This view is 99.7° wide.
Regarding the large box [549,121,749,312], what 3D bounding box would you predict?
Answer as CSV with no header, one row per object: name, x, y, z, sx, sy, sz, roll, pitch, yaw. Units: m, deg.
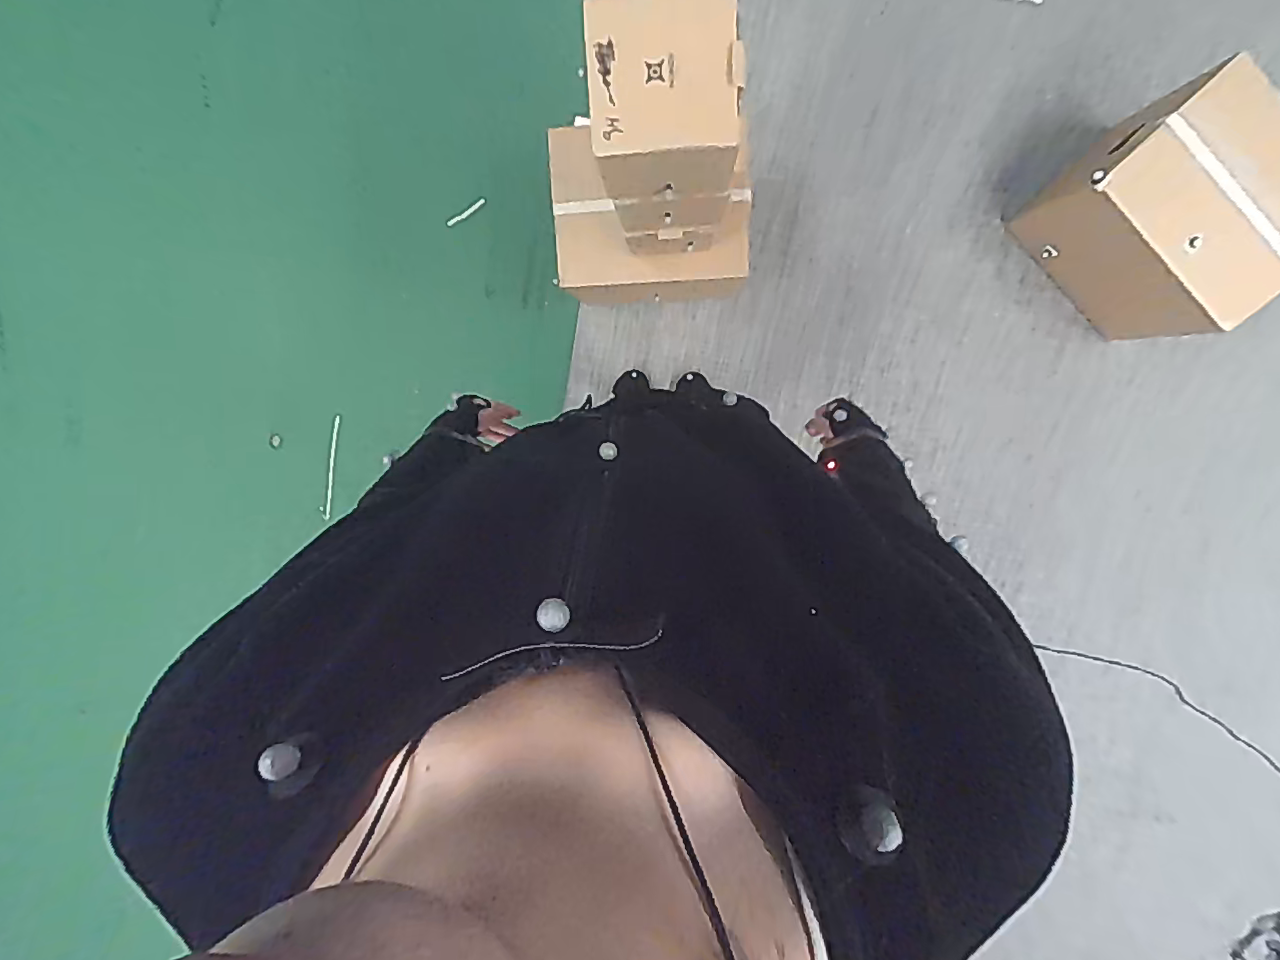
large box,0.034,-0.577,1.255,0.408,0.320,0.320,-2,99,6

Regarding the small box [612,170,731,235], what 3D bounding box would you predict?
small box,0.047,-0.498,0.853,0.179,0.176,0.168,-3,100,5

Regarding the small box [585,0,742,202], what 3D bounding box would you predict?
small box,0.031,-0.472,0.691,0.179,0.176,0.168,-2,100,4

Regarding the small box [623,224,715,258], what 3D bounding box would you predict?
small box,0.057,-0.524,1.014,0.168,0.176,0.179,-1,100,5
